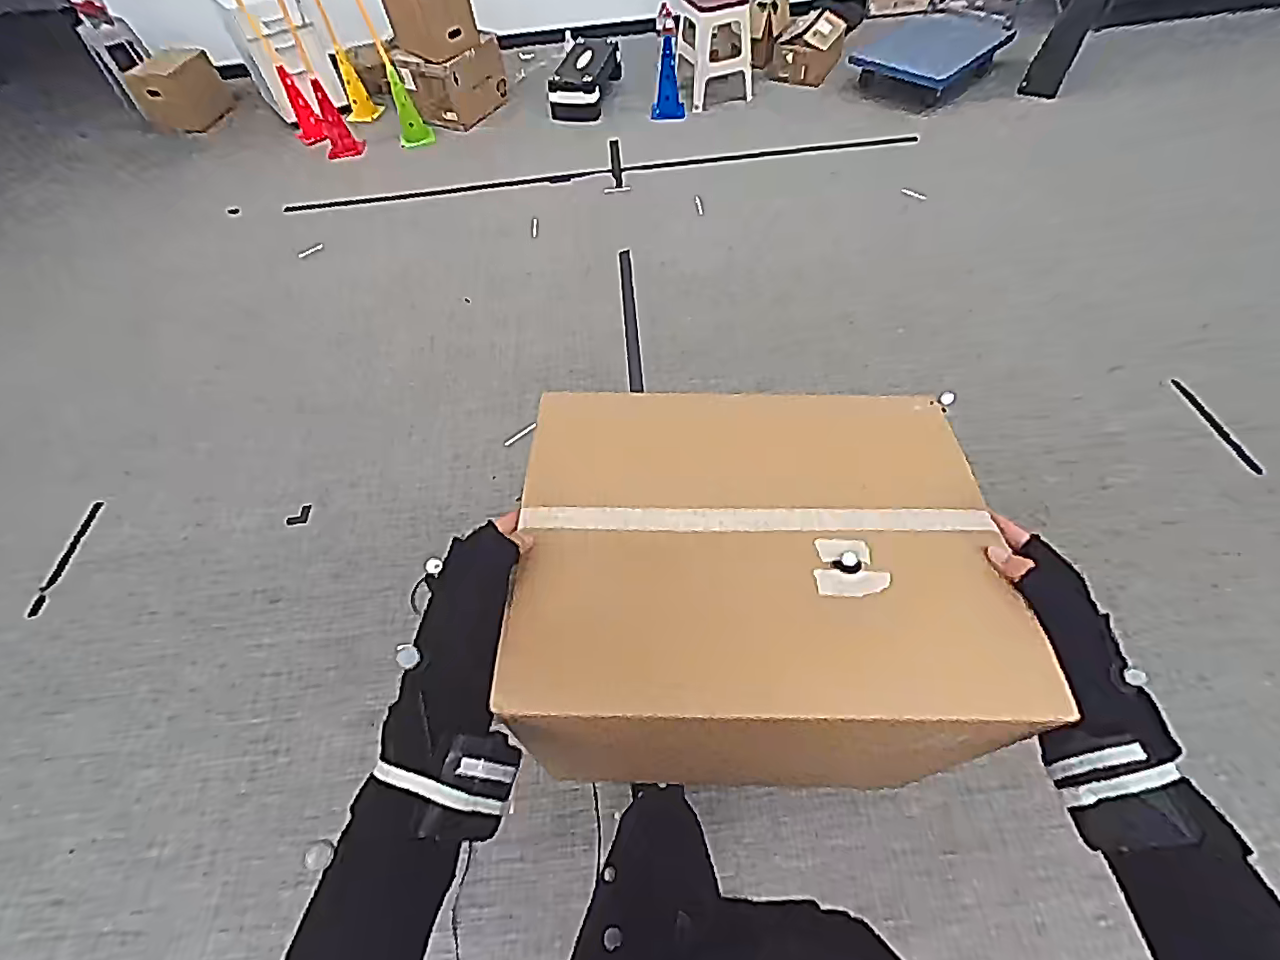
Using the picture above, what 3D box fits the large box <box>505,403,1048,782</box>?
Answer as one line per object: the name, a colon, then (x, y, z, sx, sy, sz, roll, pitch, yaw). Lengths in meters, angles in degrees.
large box: (0.097, 0.130, 0.596, 0.408, 0.320, 0.320, 1, 52, 0)
